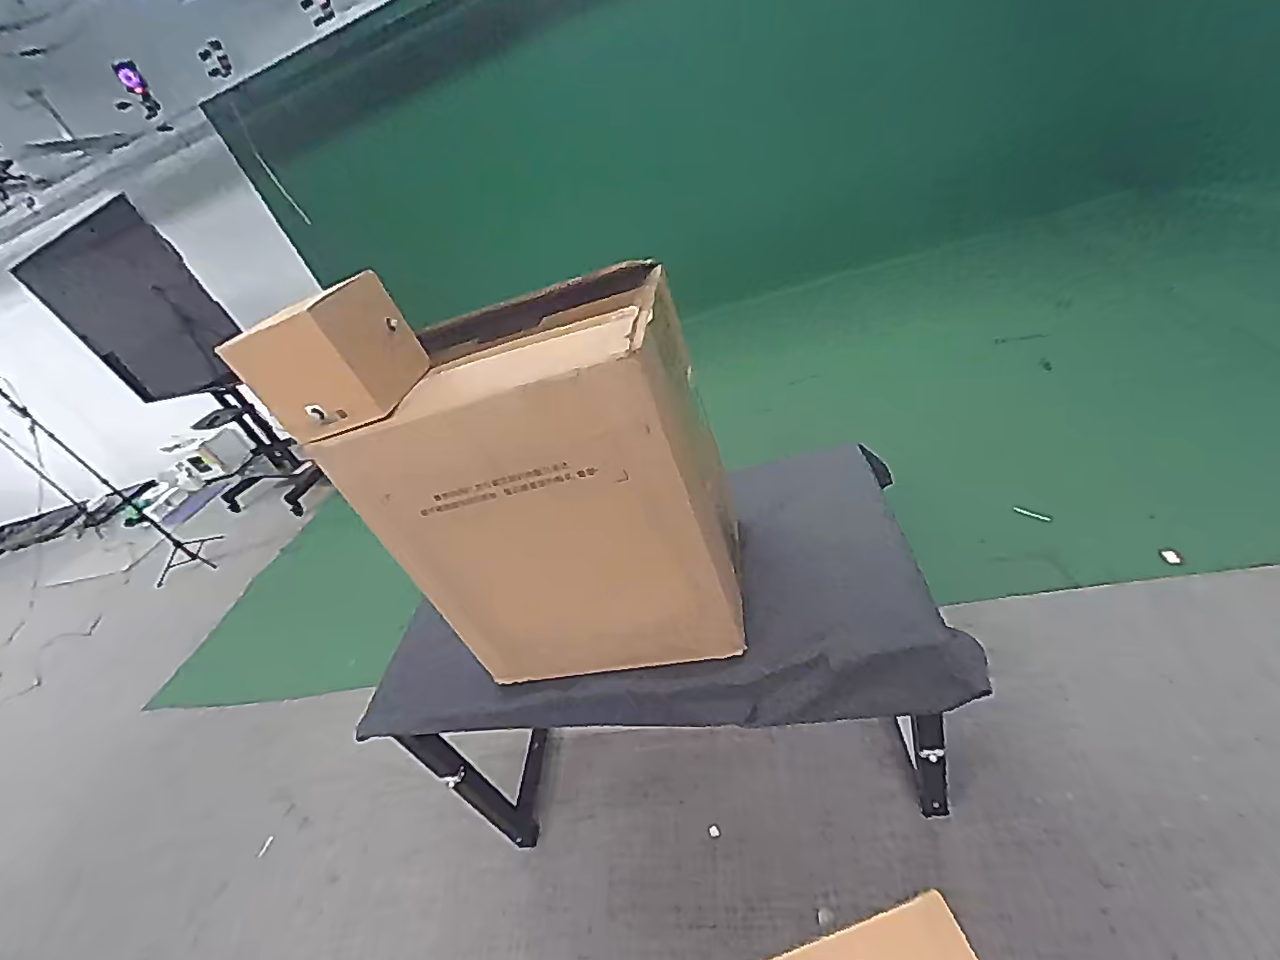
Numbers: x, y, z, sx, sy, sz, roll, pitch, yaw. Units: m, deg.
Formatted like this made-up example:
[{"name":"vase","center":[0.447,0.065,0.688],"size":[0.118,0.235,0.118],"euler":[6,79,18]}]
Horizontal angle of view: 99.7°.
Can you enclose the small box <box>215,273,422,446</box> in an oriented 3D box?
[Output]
[{"name":"small box","center":[-0.459,-0.178,0.808],"size":[0.168,0.176,0.179],"euler":[-16,35,15]}]
